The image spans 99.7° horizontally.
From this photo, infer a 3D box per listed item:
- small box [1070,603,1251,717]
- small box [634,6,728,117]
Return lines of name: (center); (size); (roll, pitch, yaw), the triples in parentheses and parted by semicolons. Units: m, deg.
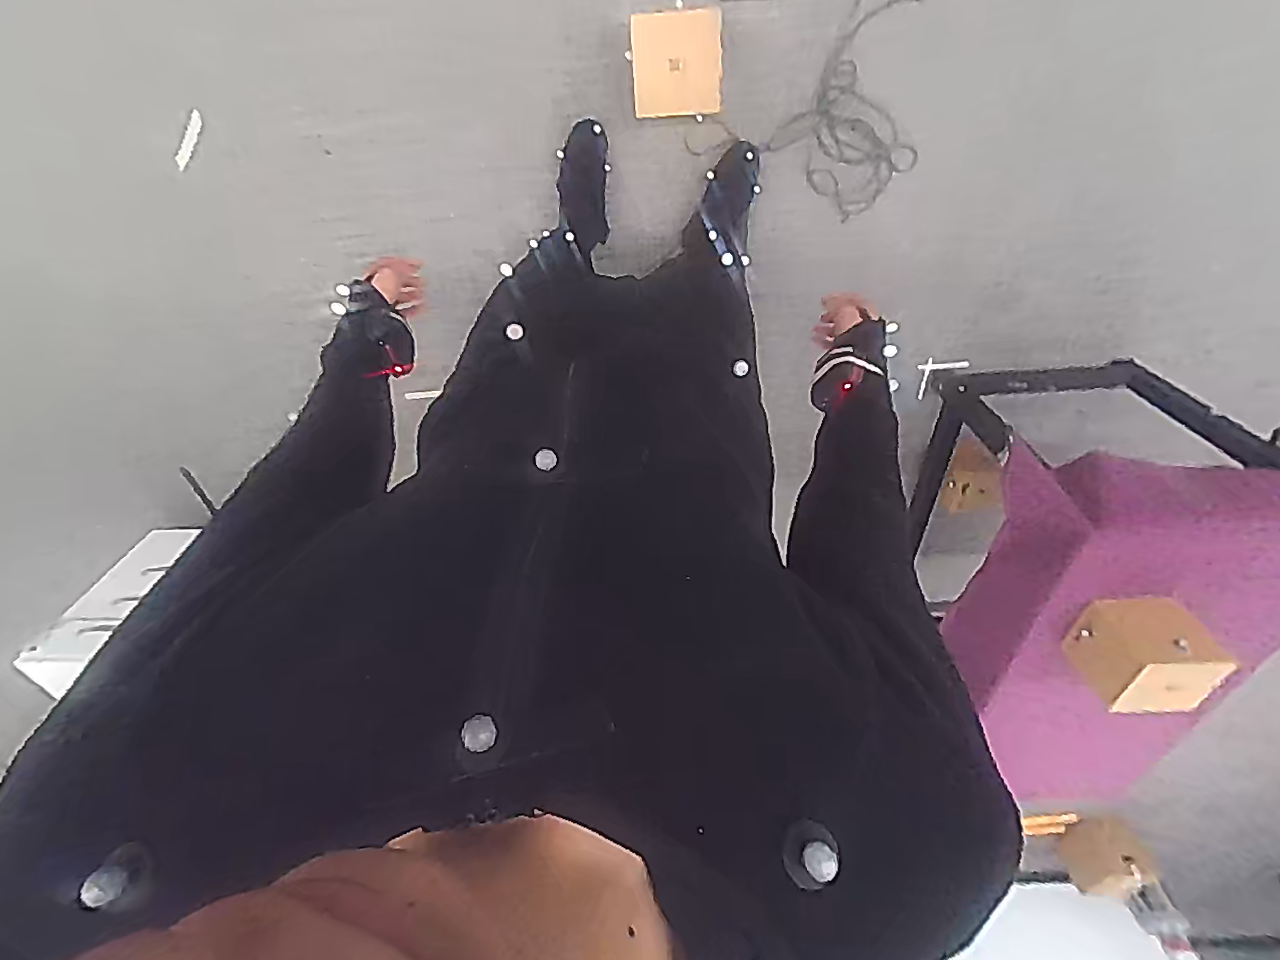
small box: (1.060, 0.369, 1.122); (0.179, 0.176, 0.168); (-2, 127, 2)
small box: (0.082, -0.855, 1.114); (0.179, 0.176, 0.168); (-3, 127, 3)
